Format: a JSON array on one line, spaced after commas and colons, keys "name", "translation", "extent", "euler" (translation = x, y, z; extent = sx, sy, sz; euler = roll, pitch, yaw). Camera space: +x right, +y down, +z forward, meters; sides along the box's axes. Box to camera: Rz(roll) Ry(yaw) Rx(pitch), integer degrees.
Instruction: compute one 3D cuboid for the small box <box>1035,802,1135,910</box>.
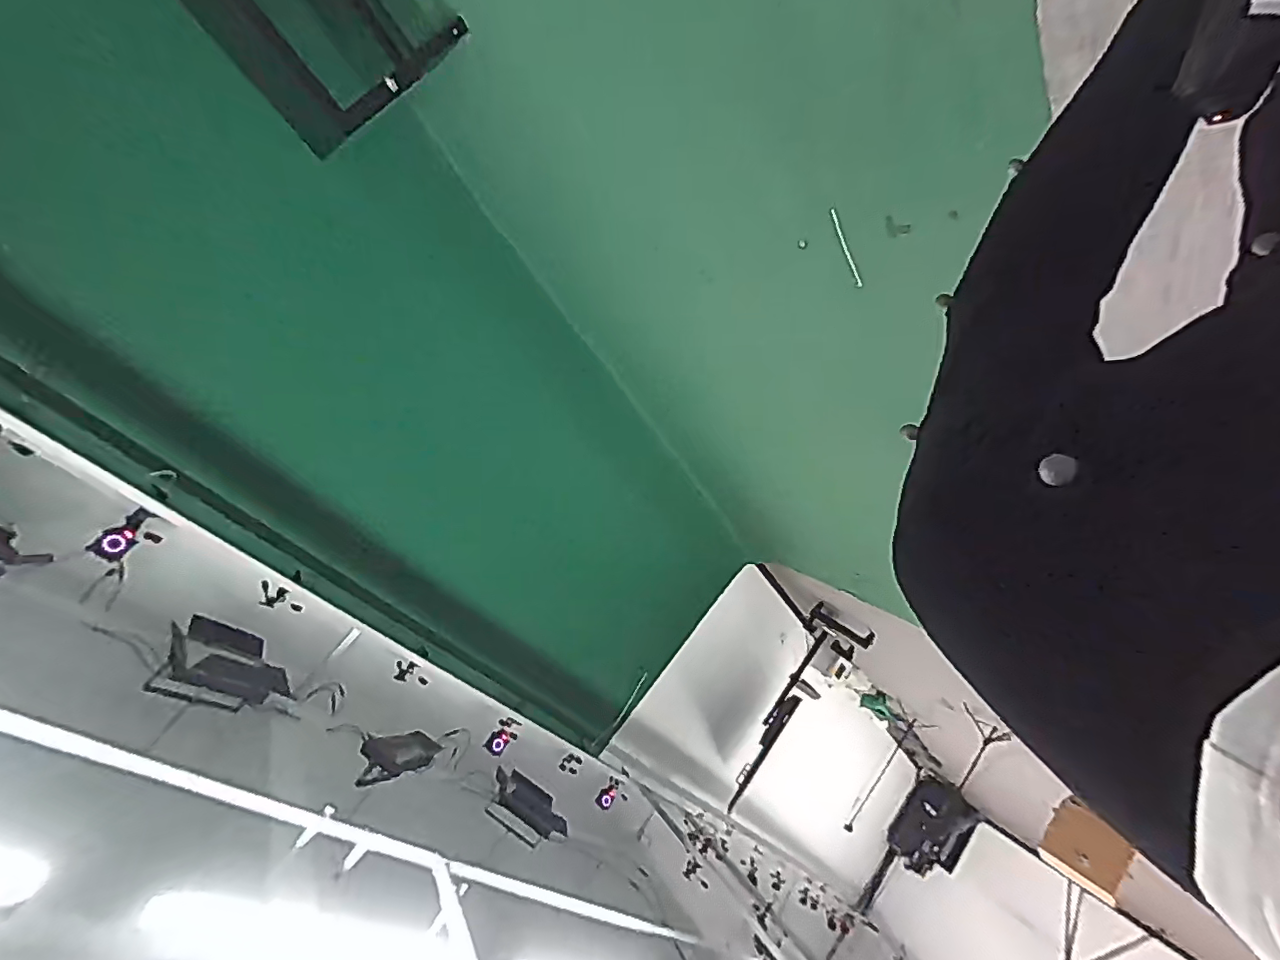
[{"name": "small box", "translation": [1.251, 1.052, 1.520], "extent": [0.179, 0.176, 0.168], "euler": [24, 158, 49]}]
